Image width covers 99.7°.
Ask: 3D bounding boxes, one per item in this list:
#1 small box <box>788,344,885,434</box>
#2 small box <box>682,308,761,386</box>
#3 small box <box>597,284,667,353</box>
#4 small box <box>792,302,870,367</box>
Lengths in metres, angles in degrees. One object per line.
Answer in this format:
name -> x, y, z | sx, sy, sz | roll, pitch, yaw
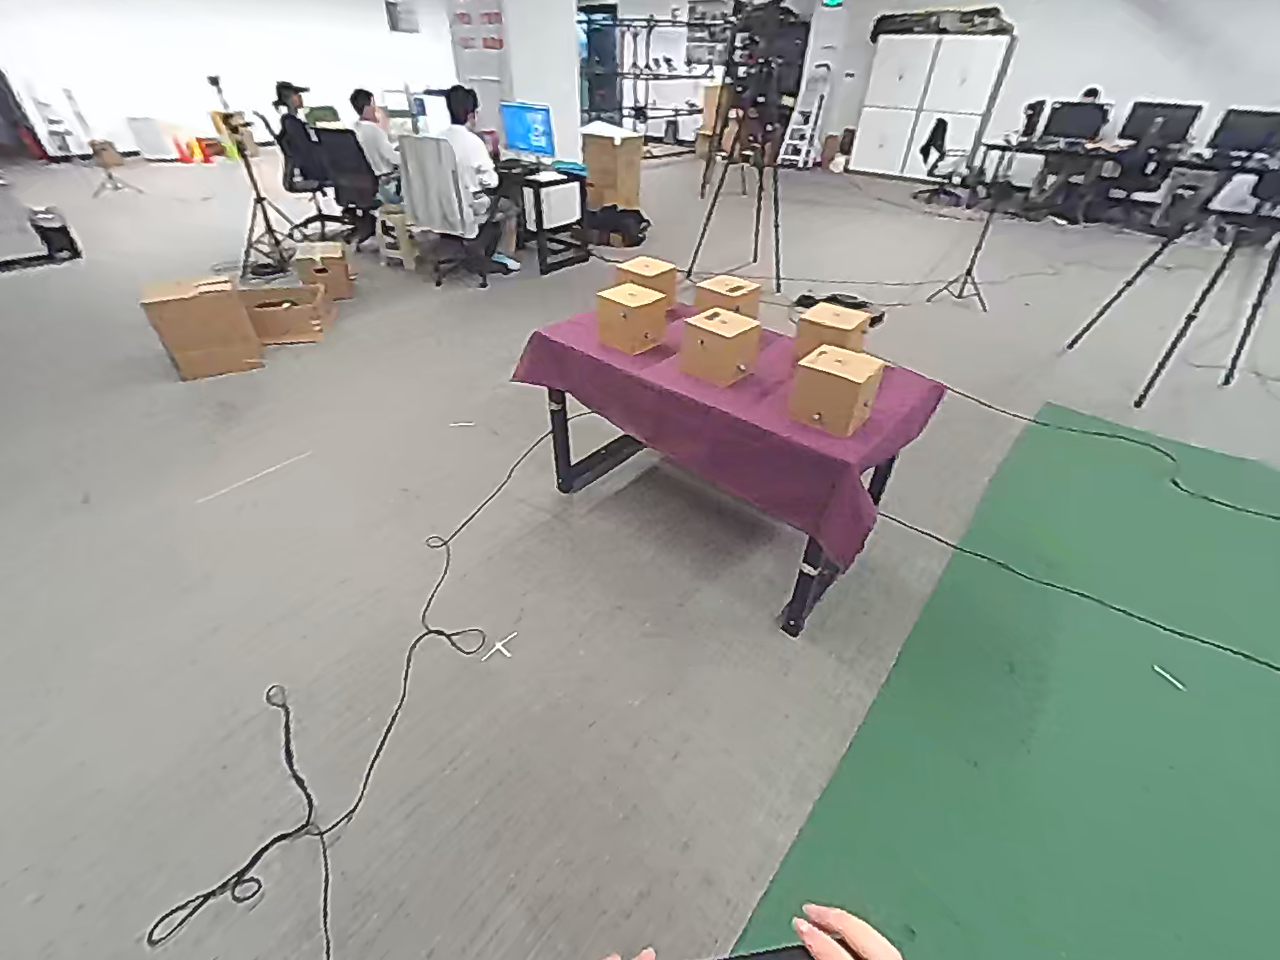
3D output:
small box -> 0.527, -0.243, 1.467 | 0.179, 0.176, 0.168 | 28, 45, 30
small box -> 0.246, -0.413, 1.679 | 0.179, 0.176, 0.168 | 32, 47, 32
small box -> -0.030, -0.551, 1.849 | 0.179, 0.176, 0.168 | 31, 46, 31
small box -> 0.606, -0.449, 1.733 | 0.168, 0.176, 0.179 | 26, 45, 29
